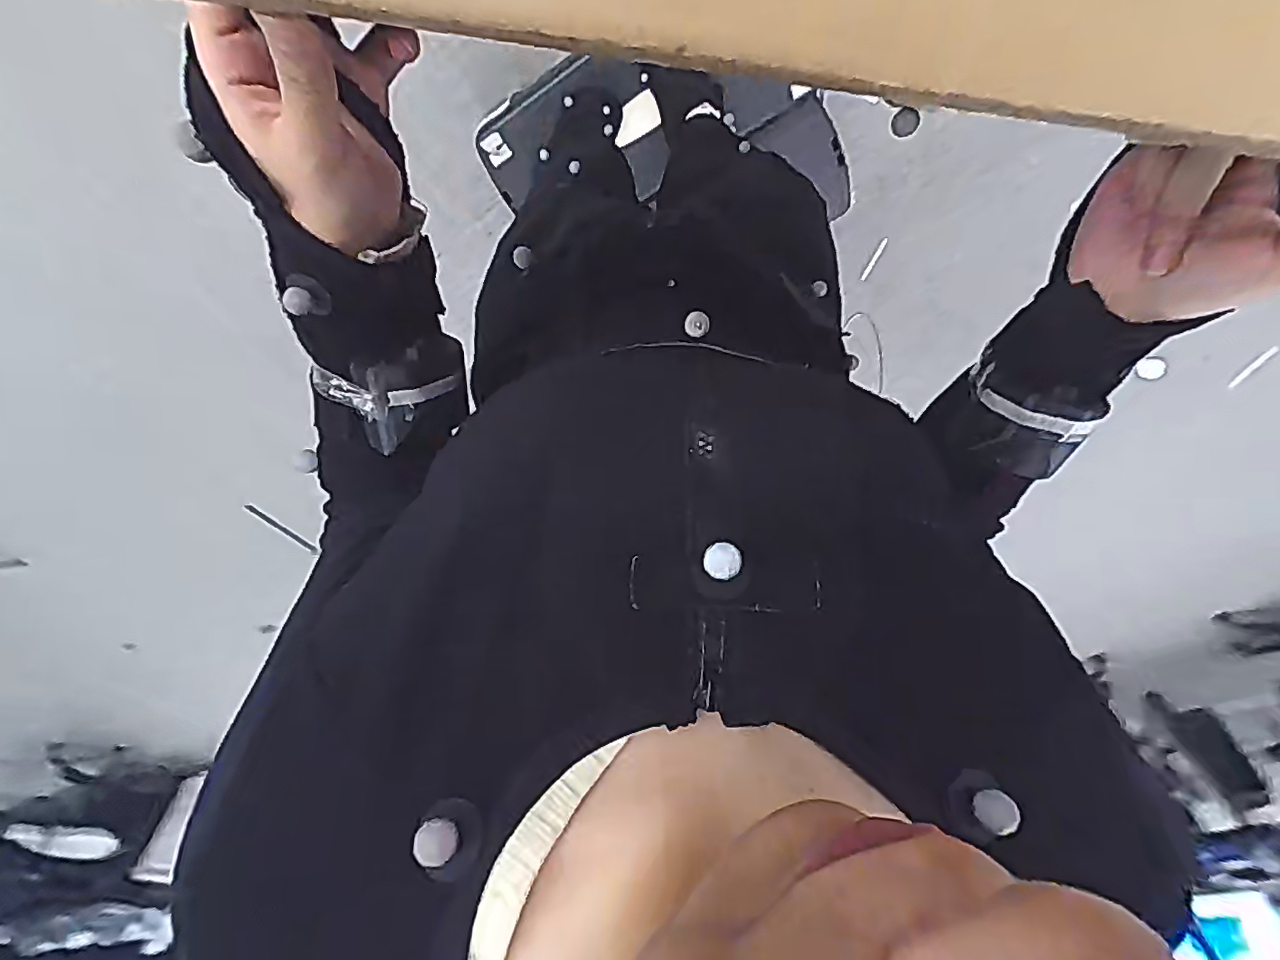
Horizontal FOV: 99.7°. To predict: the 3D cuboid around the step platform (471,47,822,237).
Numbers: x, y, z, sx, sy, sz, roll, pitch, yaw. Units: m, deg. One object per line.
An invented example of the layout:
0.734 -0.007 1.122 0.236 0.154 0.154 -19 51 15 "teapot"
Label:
0.007 -0.777 1.083 0.684 0.204 0.286 -21 131 16 "step platform"
